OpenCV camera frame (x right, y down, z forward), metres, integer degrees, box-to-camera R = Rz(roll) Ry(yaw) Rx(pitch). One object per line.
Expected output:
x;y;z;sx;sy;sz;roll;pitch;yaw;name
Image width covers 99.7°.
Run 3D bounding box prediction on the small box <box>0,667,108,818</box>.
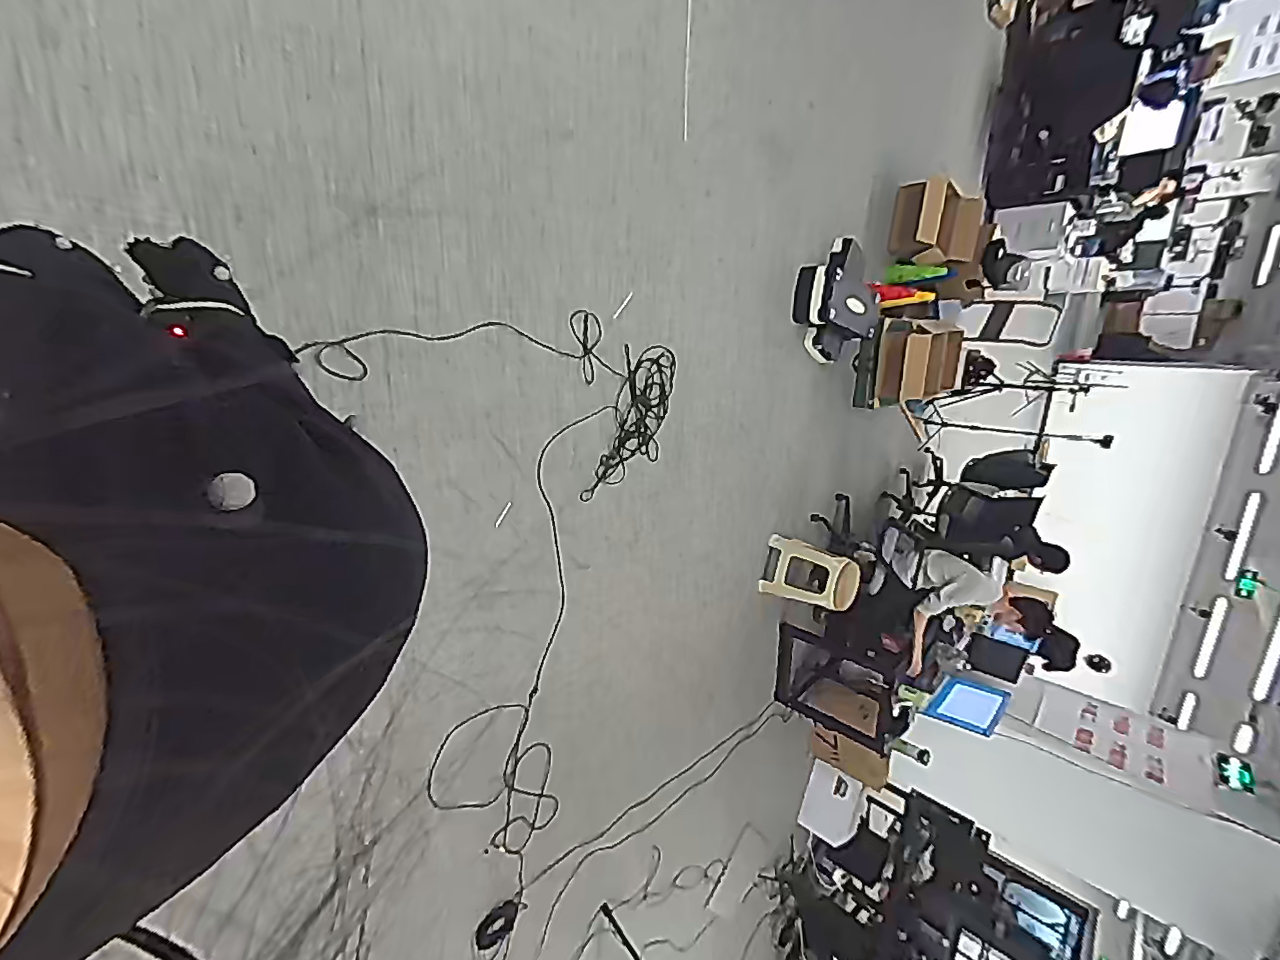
-1.147;0.494;1.037;0.168;0.176;0.179;-10;108;-45;small box
